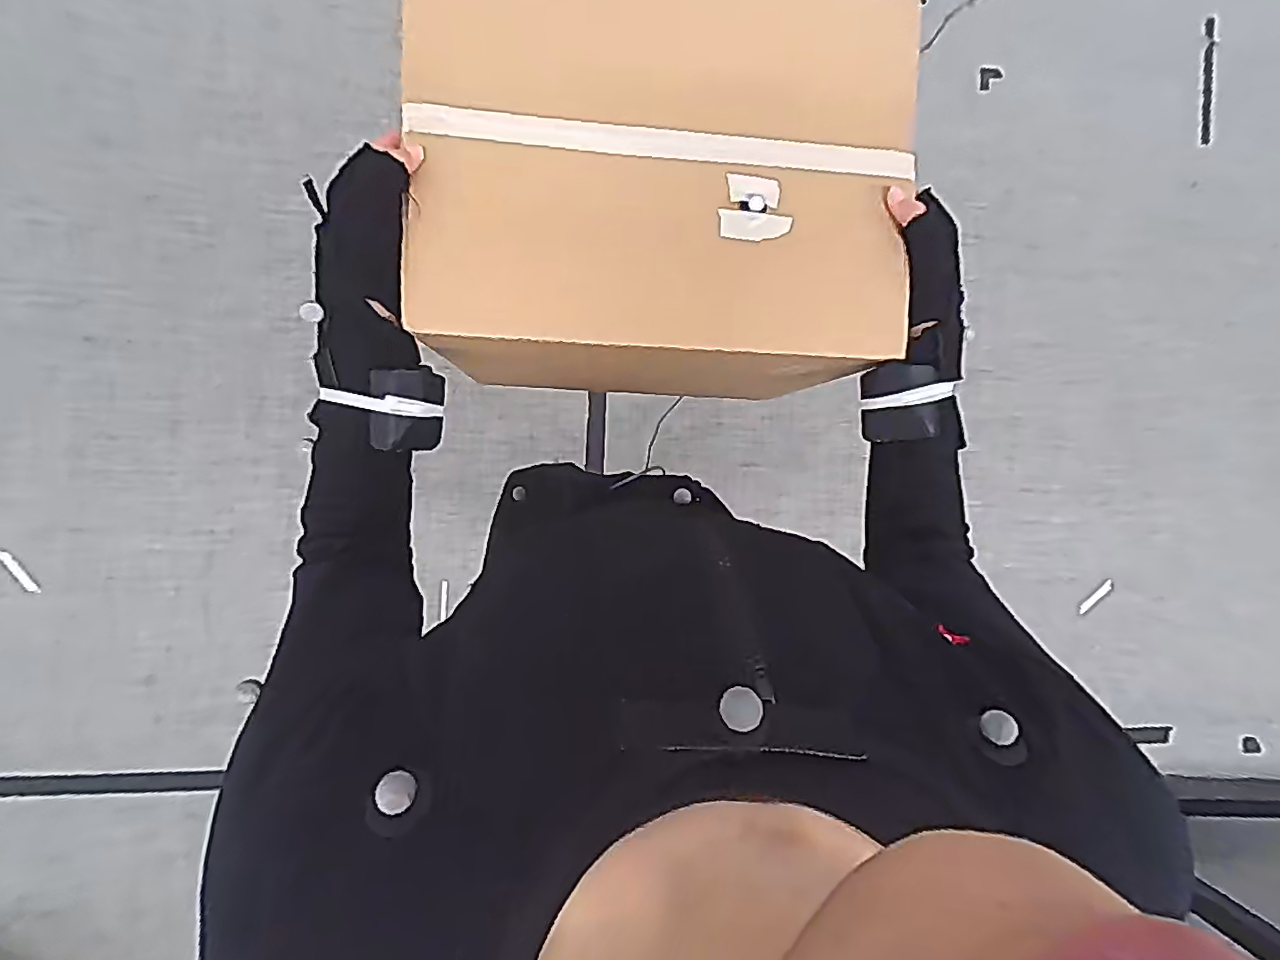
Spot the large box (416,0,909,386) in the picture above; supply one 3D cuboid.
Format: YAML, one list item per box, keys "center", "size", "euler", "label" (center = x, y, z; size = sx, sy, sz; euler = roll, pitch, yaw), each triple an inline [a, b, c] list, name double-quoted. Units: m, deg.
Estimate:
- center: [0.006, -0.278, 0.582]
  size: [0.408, 0.320, 0.320]
  euler: [2, 94, -8]
  label: "large box"
